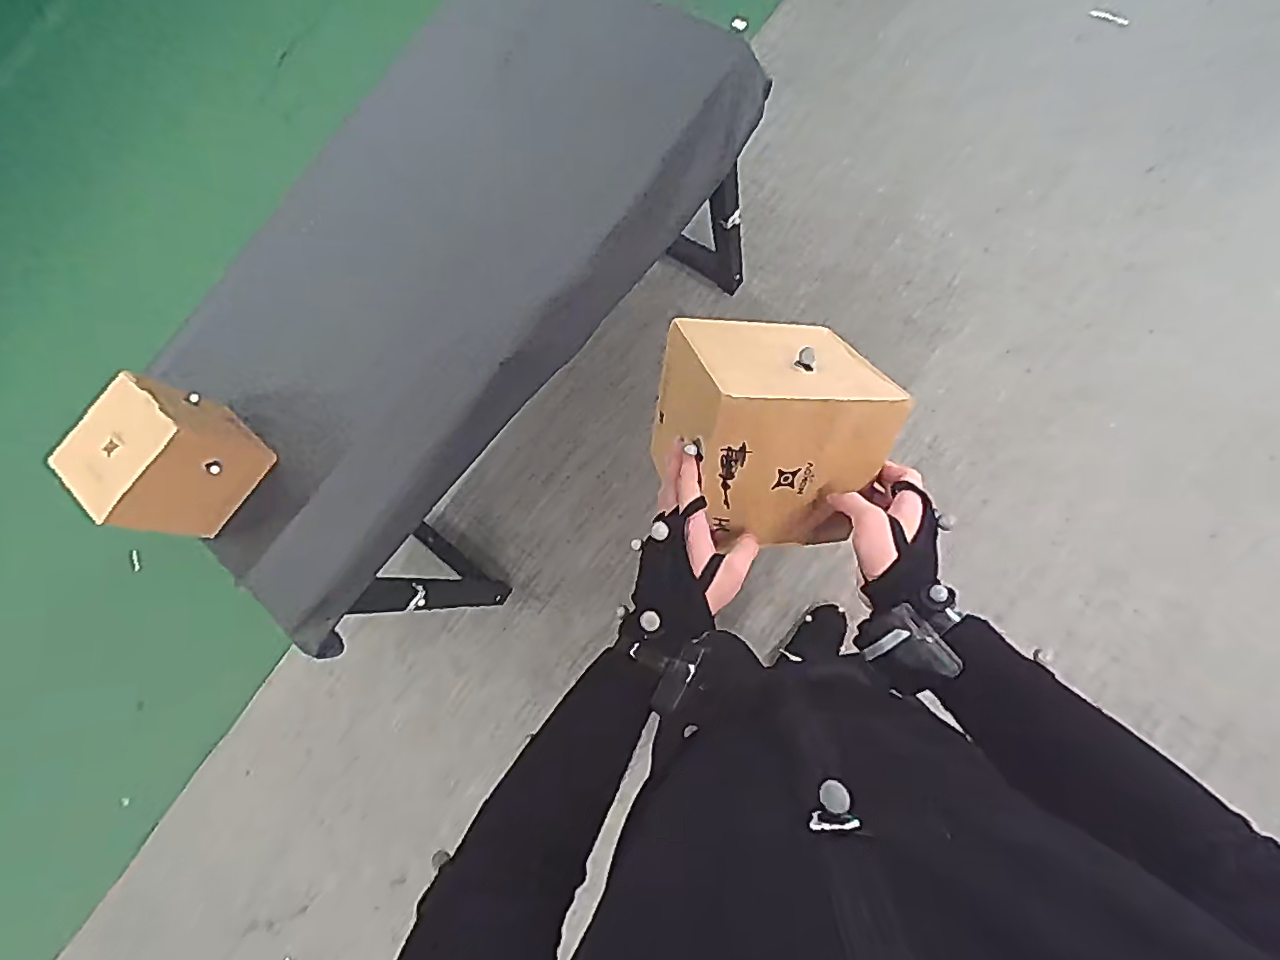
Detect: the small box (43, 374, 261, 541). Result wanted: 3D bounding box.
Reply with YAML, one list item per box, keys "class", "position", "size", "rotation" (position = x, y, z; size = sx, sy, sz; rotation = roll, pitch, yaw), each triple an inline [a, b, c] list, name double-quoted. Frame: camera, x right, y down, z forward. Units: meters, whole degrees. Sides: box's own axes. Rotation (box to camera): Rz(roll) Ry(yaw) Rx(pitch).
- class: "small box"
  position: [-0.741, -0.027, 0.844]
  size: [0.168, 0.176, 0.179]
  rotation: [39, 88, 19]

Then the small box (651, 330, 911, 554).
- class: "small box"
  position: [0.124, -0.044, 0.553]
  size: [0.179, 0.168, 0.176]
  rotation: [-1, 36, -15]
